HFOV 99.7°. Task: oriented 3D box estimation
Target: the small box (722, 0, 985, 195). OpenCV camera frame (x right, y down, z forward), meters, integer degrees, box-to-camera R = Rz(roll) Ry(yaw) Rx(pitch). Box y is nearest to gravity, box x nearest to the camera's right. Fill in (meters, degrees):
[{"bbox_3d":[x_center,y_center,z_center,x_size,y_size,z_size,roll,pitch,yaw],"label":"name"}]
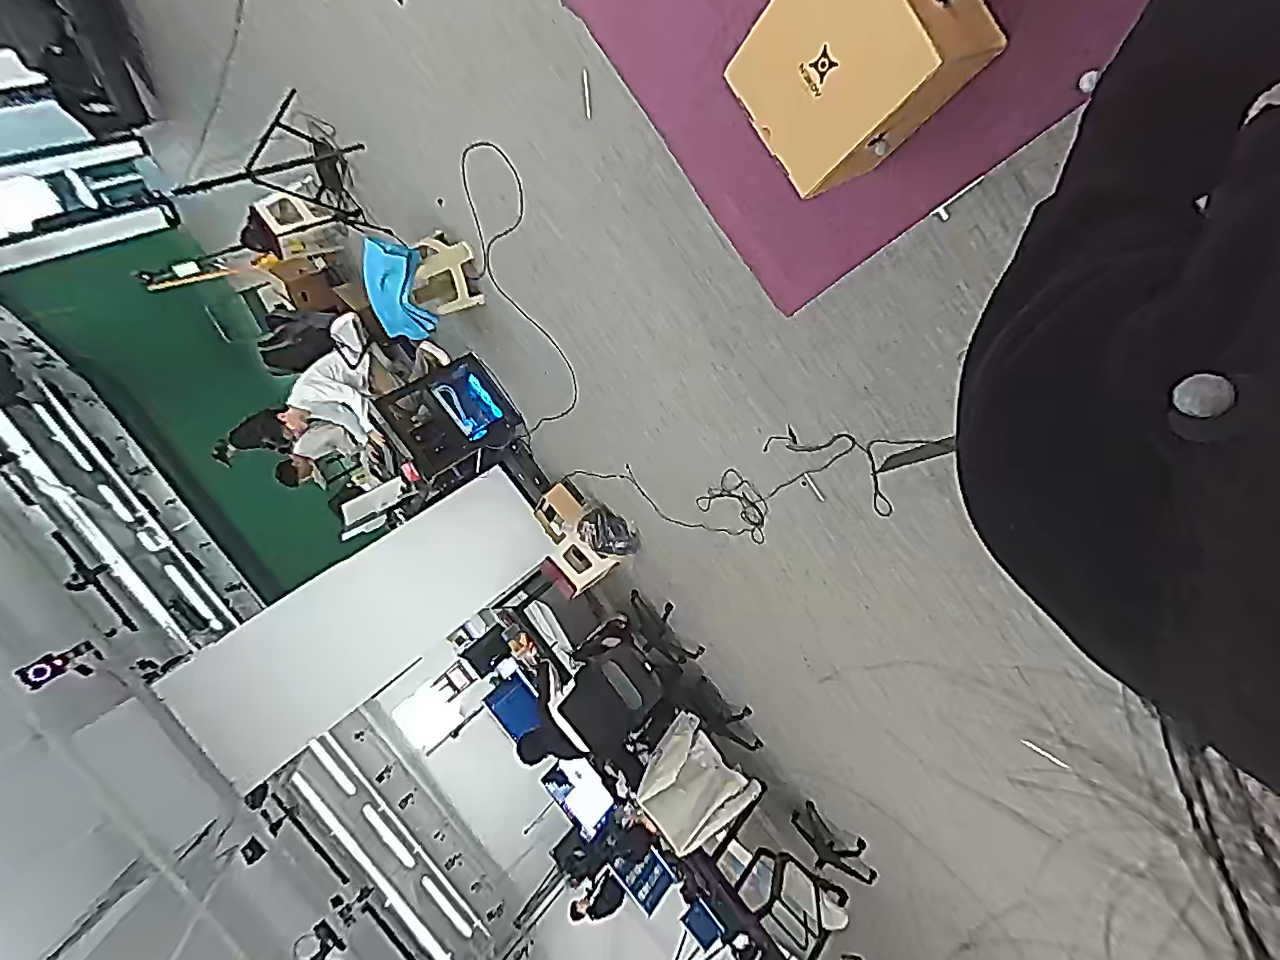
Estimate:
[{"bbox_3d":[0.229,-0.451,0.574,0.168,0.176,0.179,55,151,-4],"label":"small box"}]
